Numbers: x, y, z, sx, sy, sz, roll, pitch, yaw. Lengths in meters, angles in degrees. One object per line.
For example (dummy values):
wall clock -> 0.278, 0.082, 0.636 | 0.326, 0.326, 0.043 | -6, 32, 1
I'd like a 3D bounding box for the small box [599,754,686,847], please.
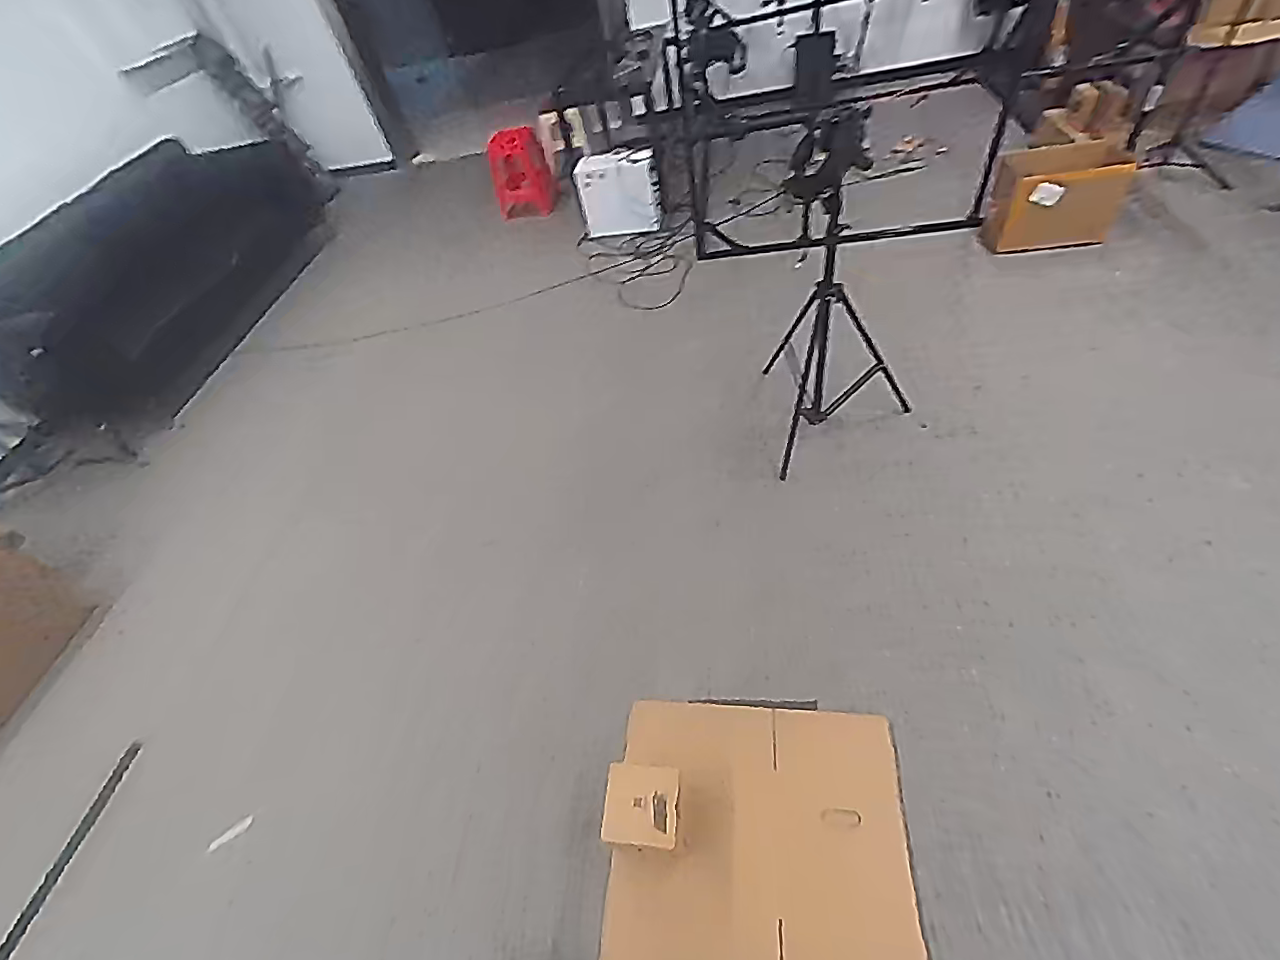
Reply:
small box -> 0.015, 0.788, 1.326 | 0.179, 0.176, 0.168 | -1, 51, 13
